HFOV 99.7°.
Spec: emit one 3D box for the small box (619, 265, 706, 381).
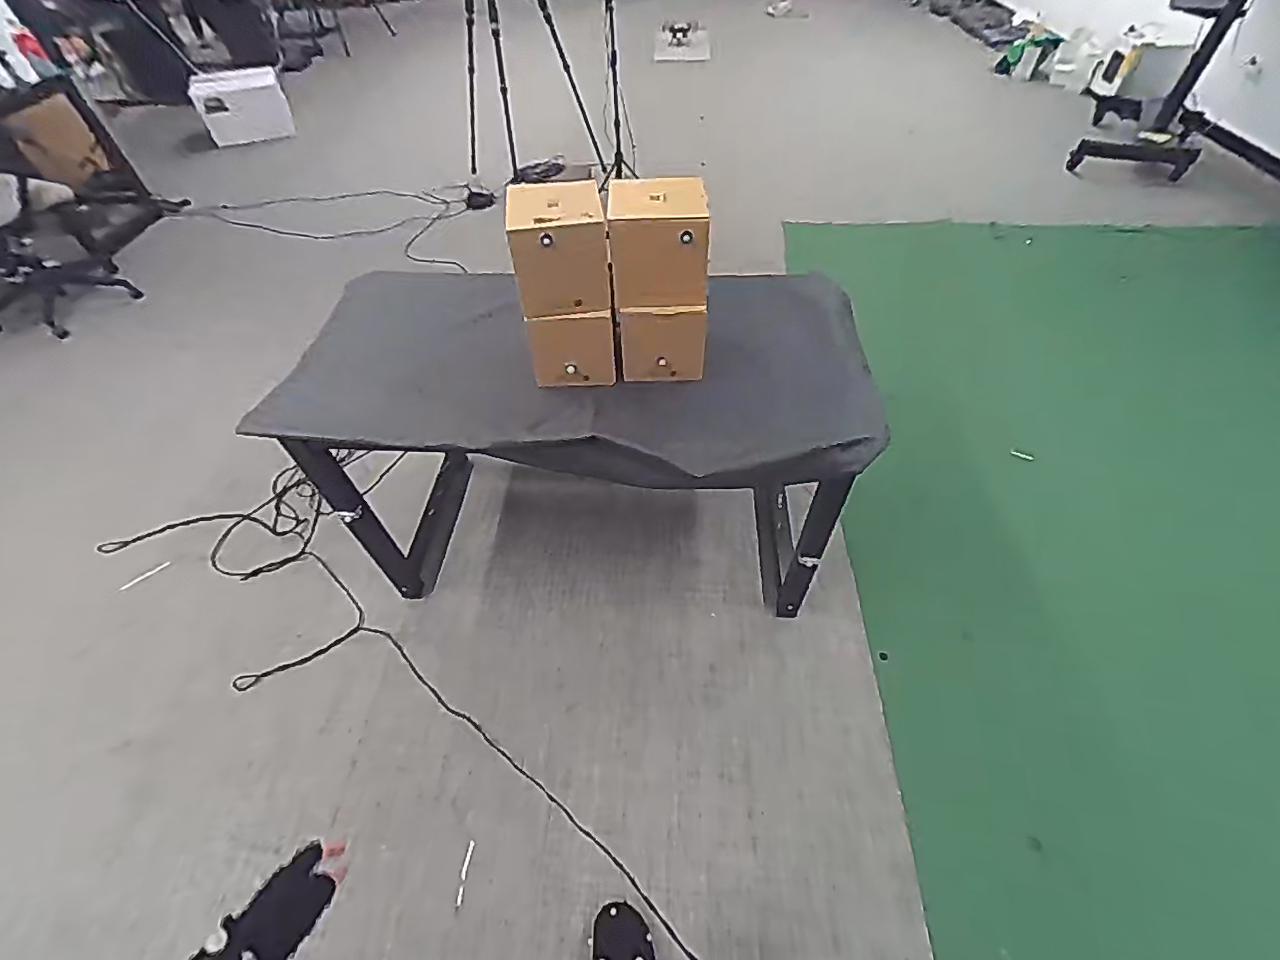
[{"bbox_3d":[0.046,-0.326,1.126,0.168,0.176,0.179,-1,50,3],"label":"small box"}]
